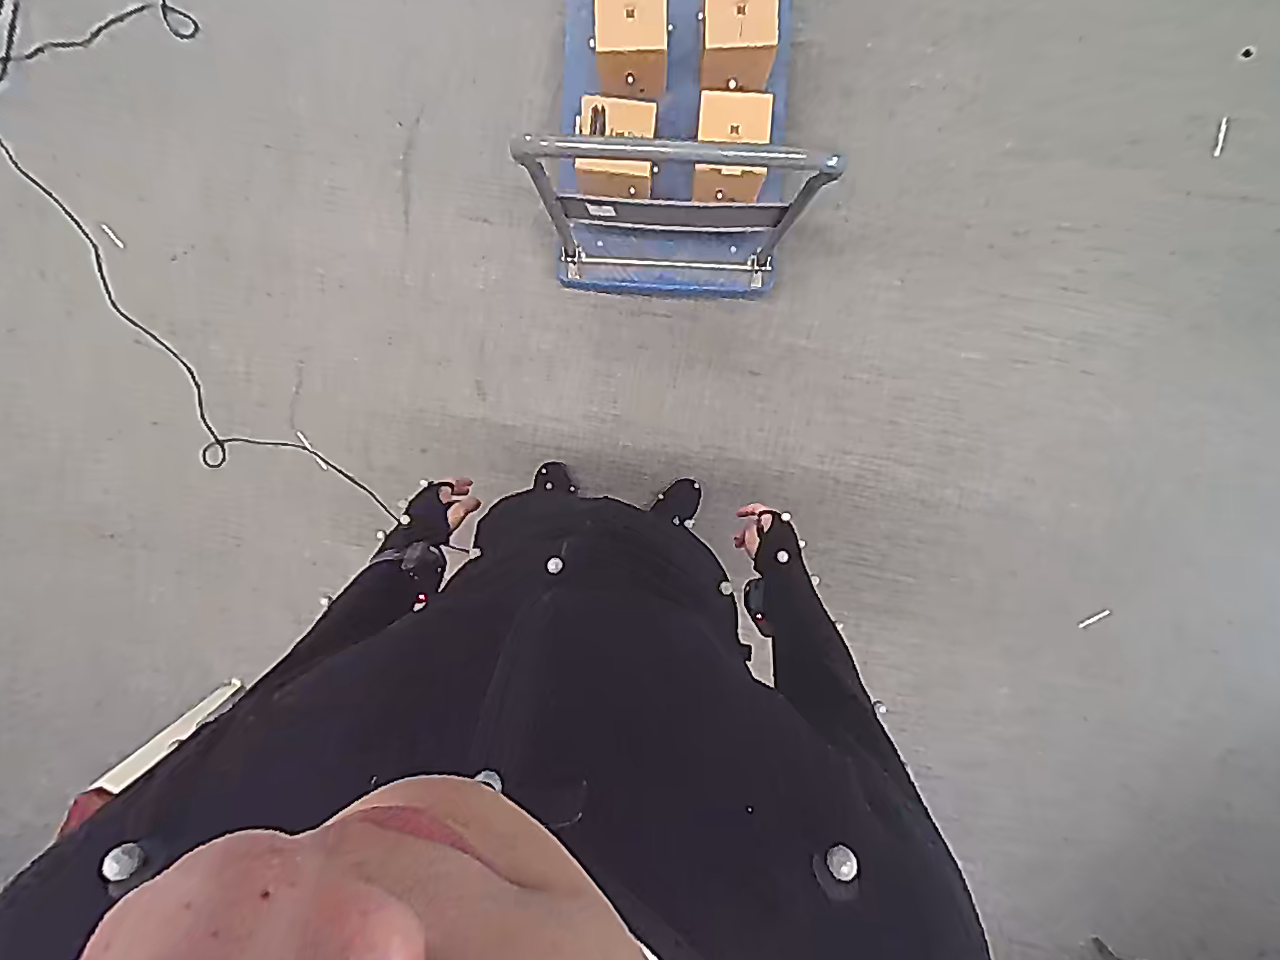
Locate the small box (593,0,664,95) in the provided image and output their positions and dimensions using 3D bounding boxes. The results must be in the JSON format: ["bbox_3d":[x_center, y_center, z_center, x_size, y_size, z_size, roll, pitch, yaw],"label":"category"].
[{"bbox_3d":[-0.024,-1.077,1.320,0.168,0.176,0.179,-1,94,1],"label":"small box"}]

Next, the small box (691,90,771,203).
[{"bbox_3d":[0.216,-0.813,1.330,0.168,0.176,0.179,4,94,1],"label":"small box"}]

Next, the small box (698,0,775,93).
[{"bbox_3d":[0.228,-1.082,1.311,0.168,0.176,0.179,0,95,3],"label":"small box"}]
